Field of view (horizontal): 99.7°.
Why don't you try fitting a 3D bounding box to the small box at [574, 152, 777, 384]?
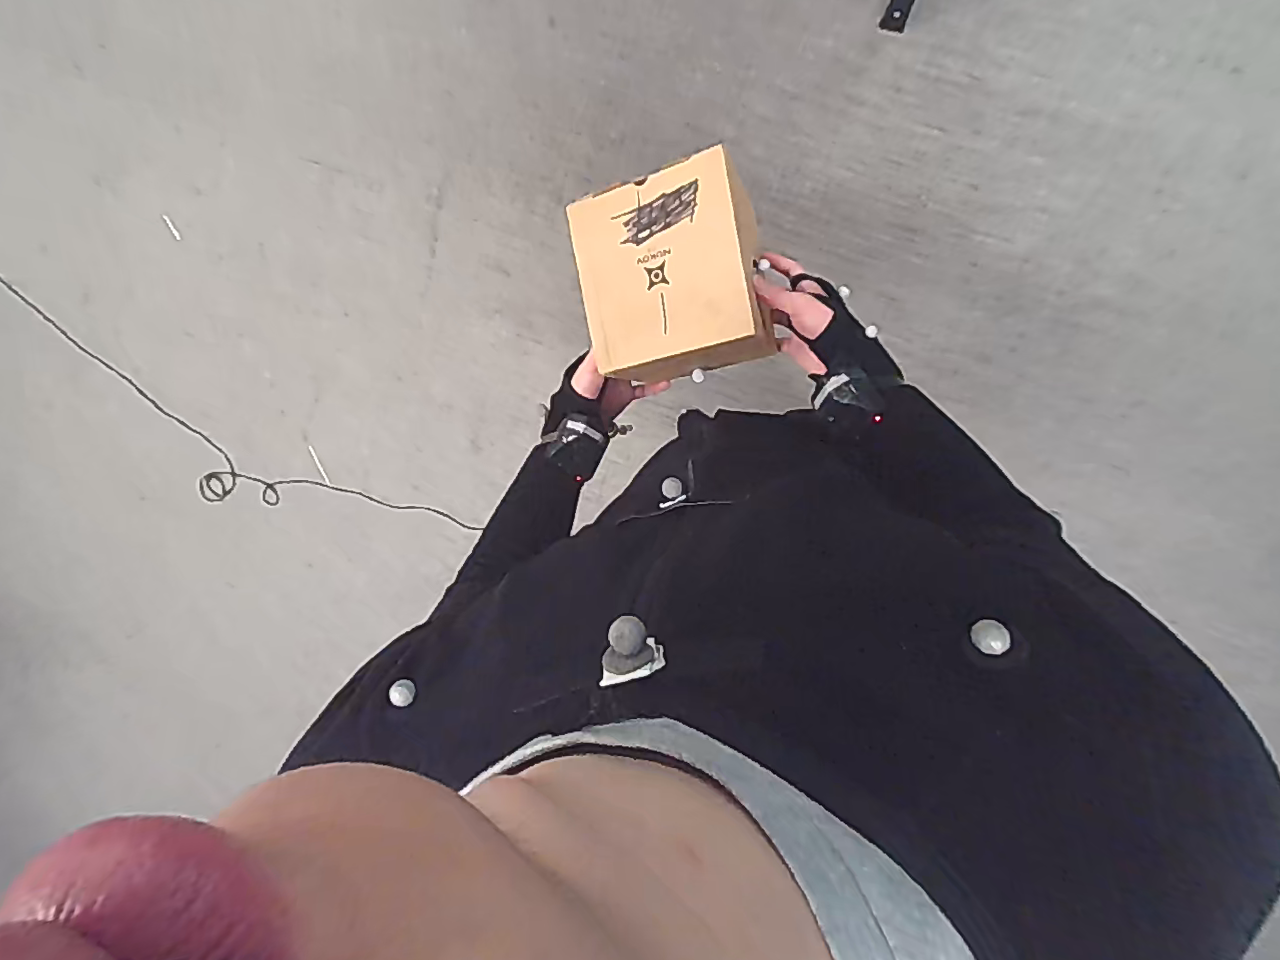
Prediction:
[{"bbox_3d":[0.049,-0.213,0.600,0.168,0.176,0.179,-10,93,23],"label":"small box"}]
